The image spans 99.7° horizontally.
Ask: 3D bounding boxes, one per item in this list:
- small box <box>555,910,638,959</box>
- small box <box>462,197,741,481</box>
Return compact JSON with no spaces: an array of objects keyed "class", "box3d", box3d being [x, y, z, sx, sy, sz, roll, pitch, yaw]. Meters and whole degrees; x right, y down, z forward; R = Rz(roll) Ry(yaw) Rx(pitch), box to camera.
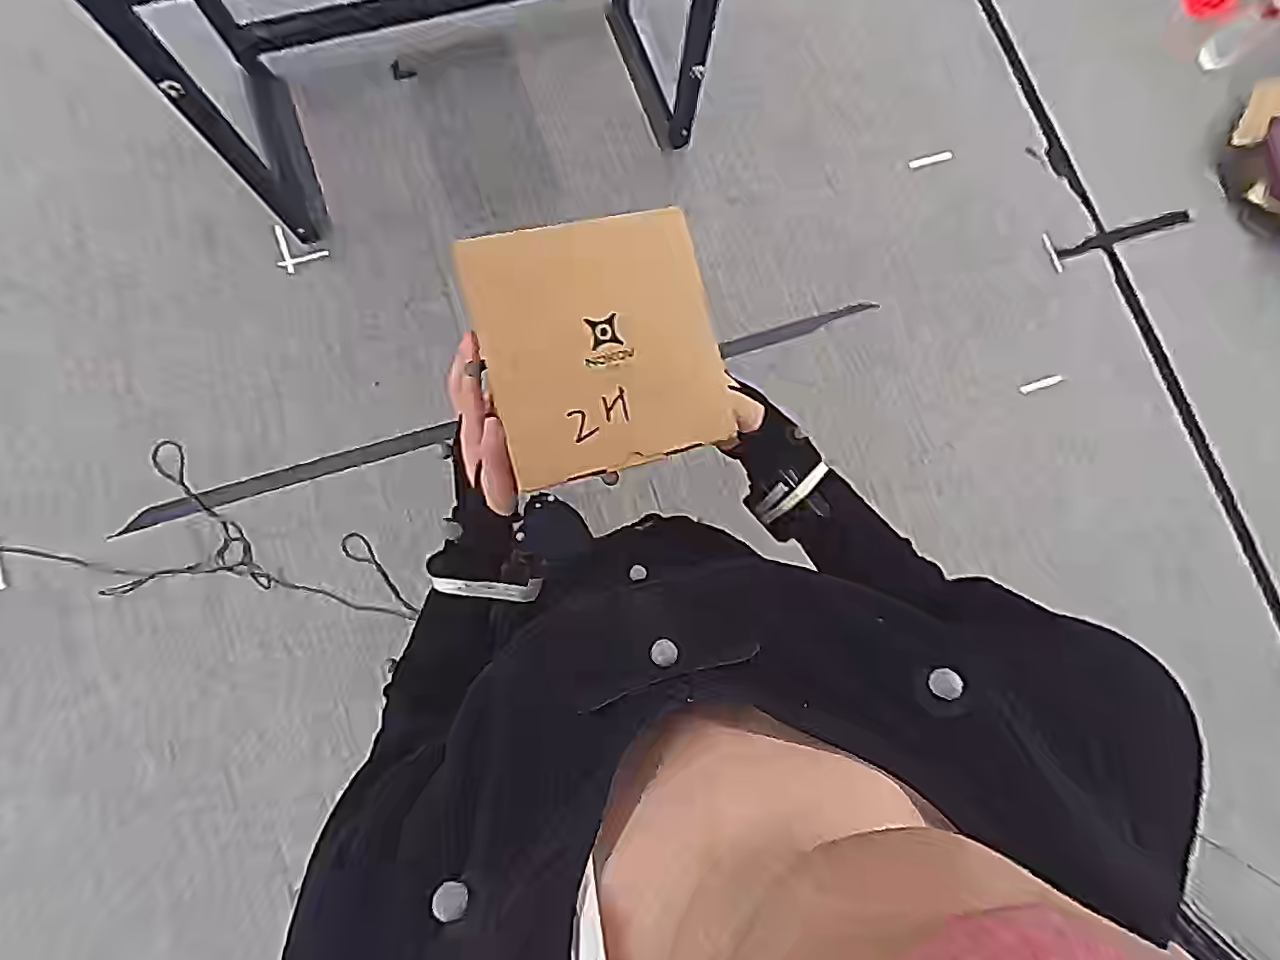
[{"class":"small box","box3d":[-0.096,1.160,1.265,0.168,0.176,0.179,-24,85,-8]},{"class":"small box","box3d":[-0.041,-0.100,0.450,0.168,0.176,0.179,-15,94,-13]}]
